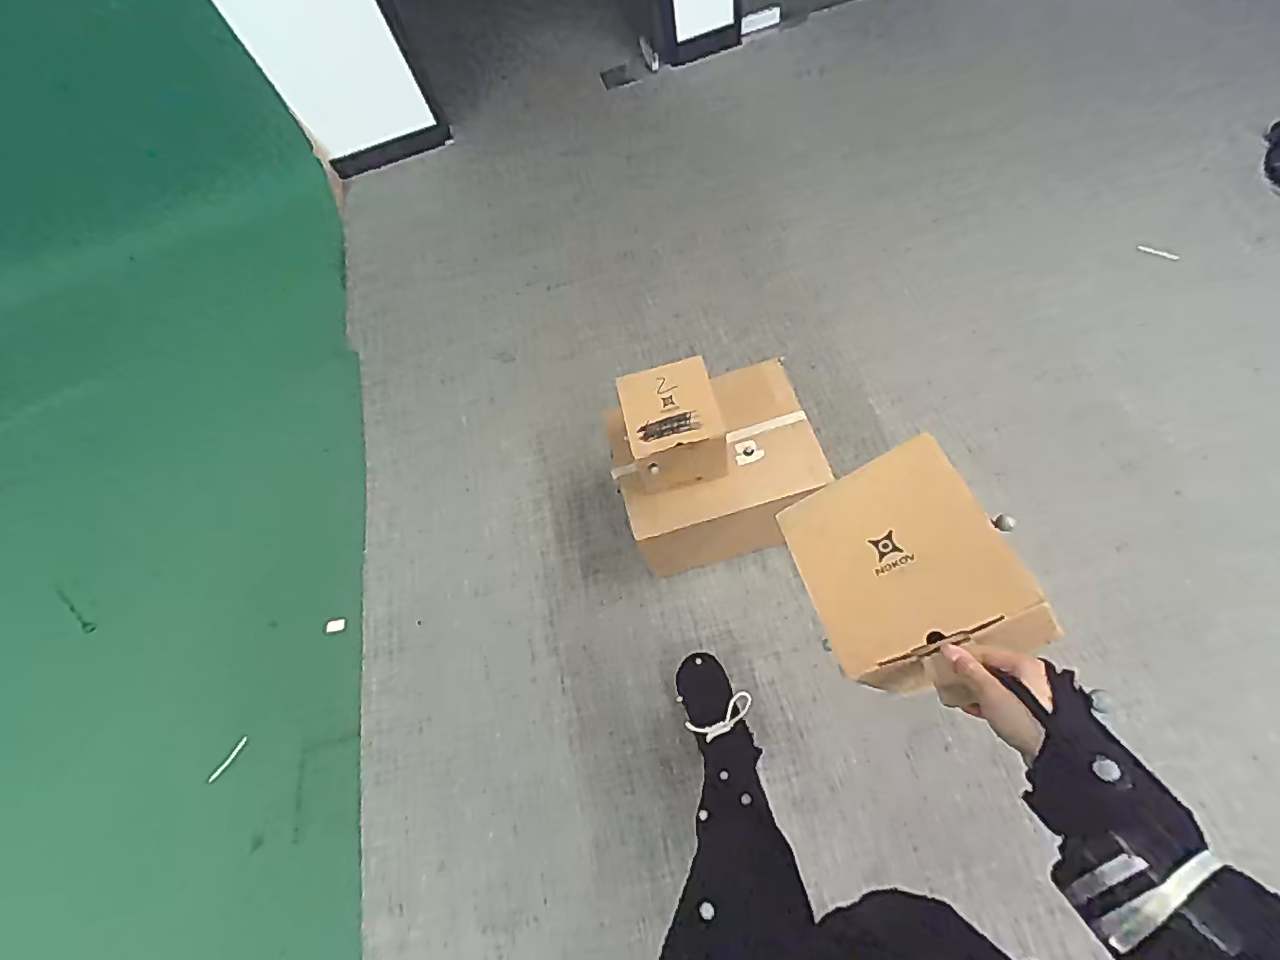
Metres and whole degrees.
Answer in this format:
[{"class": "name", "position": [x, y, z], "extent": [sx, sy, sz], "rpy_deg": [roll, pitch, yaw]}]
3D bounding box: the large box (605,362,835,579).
[{"class": "large box", "position": [0.169, -0.005, 1.235], "extent": [0.408, 0.320, 0.320], "rpy_deg": [-16, 65, 1]}]

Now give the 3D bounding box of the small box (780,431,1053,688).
[{"class": "small box", "position": [0.270, 0.089, 0.539], "extent": [0.168, 0.176, 0.179], "rpy_deg": [-32, 51, 24]}]
